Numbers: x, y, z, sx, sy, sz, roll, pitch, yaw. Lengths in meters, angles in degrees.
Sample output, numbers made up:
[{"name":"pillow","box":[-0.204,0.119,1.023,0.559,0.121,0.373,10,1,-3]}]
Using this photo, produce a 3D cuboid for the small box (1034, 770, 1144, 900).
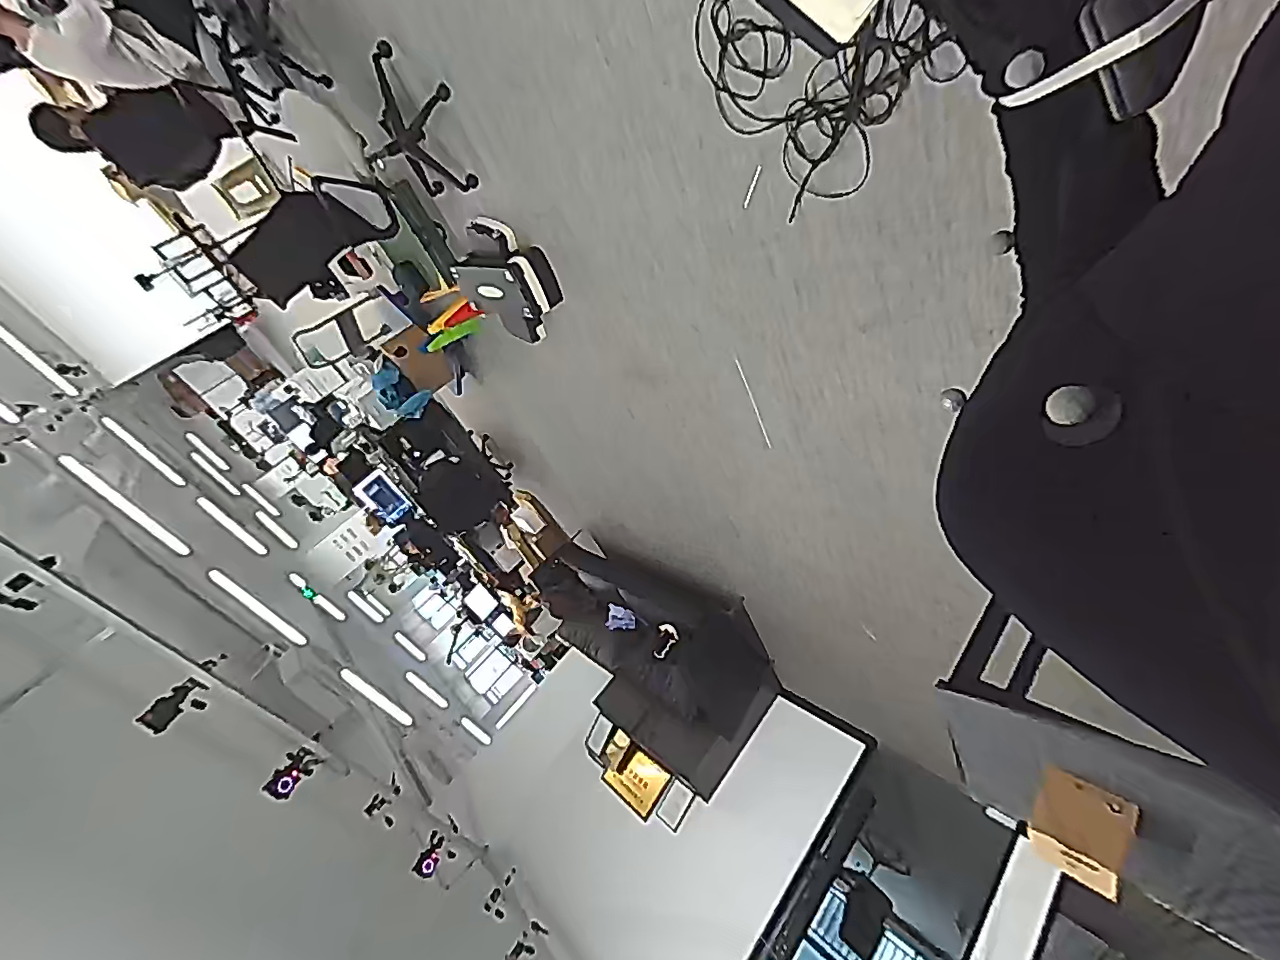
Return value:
[{"name":"small box","box":[1.058,0.828,1.276,0.168,0.176,0.179,14,143,49]}]
